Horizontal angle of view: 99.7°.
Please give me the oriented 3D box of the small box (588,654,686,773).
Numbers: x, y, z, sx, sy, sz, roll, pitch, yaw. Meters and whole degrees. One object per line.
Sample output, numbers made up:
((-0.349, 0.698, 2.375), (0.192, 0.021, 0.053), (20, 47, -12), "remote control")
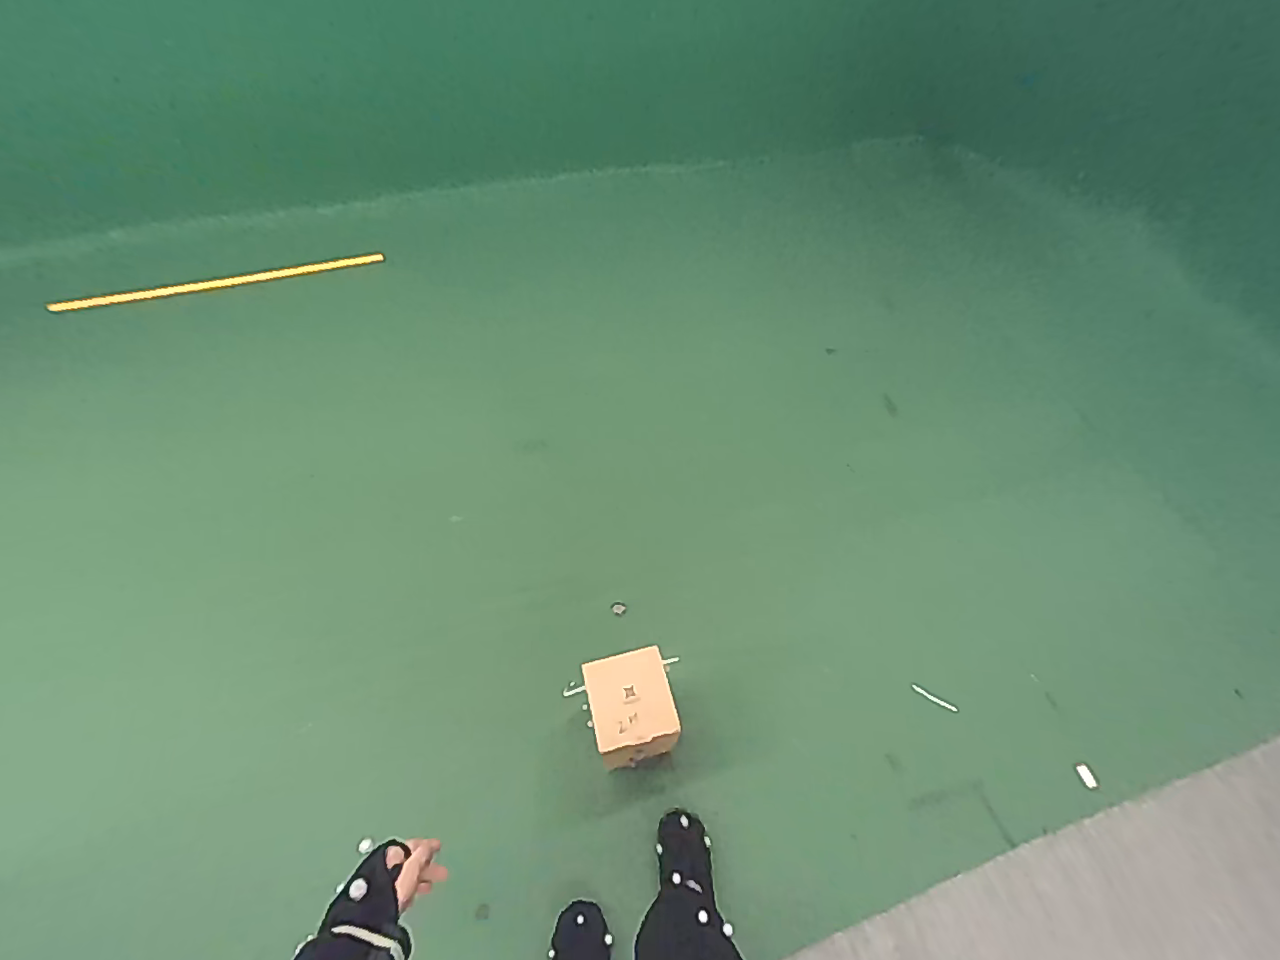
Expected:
((-0.011, 0.498, 1.148), (0.168, 0.176, 0.179), (-13, 57, -9), "small box")

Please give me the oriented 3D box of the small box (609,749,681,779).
((-0.010, 0.592, 1.285), (0.168, 0.176, 0.179), (-15, 56, -11), "small box")
